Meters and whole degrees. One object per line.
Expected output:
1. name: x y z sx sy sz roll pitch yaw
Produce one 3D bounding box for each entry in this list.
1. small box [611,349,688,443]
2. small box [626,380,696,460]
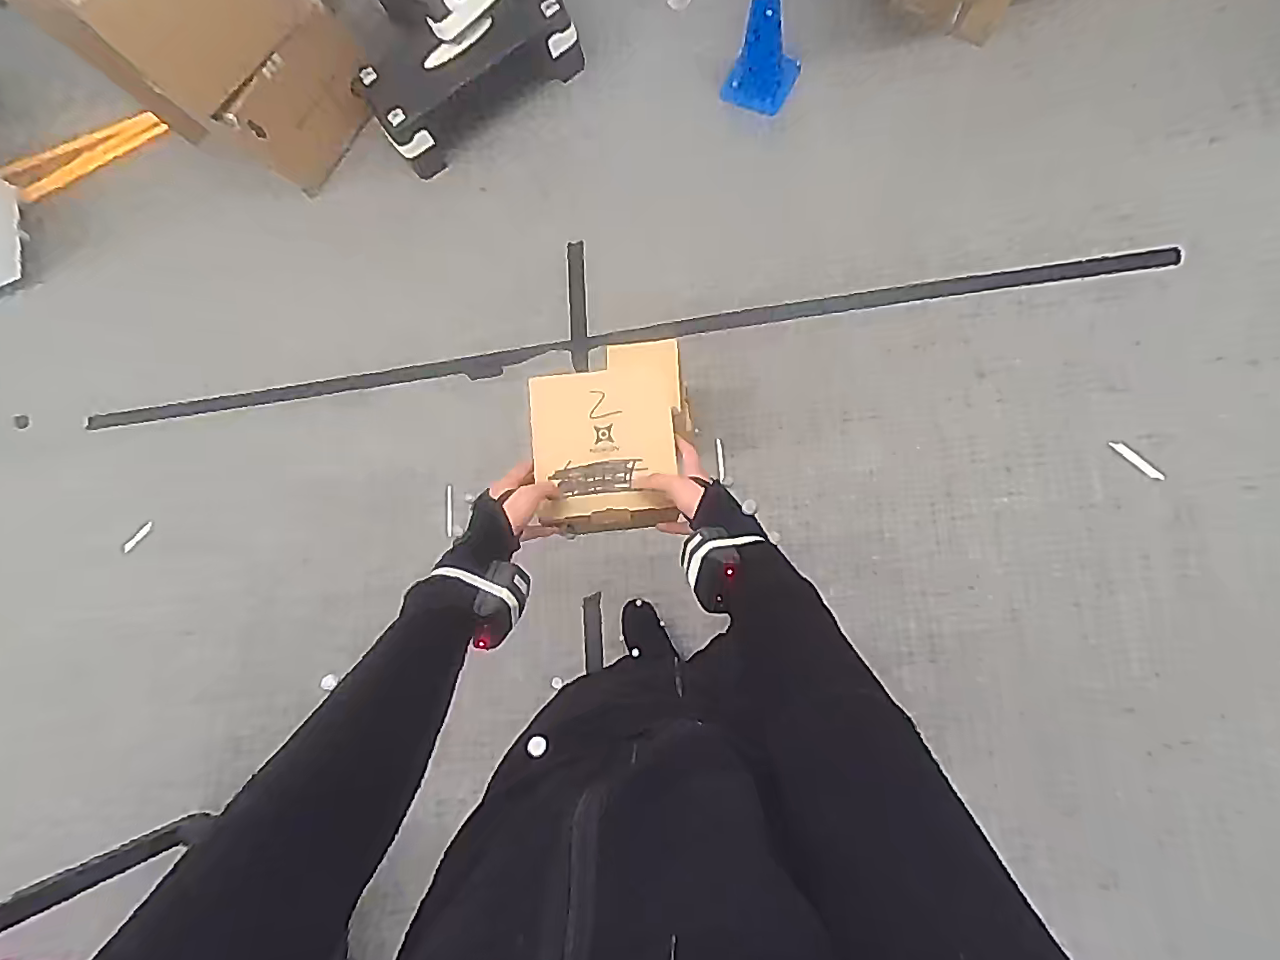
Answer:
1. small box: 0.026 -0.196 1.304 0.168 0.176 0.179 -4 80 8
2. small box: 0.057 -0.157 1.460 0.179 0.176 0.168 -8 79 9
